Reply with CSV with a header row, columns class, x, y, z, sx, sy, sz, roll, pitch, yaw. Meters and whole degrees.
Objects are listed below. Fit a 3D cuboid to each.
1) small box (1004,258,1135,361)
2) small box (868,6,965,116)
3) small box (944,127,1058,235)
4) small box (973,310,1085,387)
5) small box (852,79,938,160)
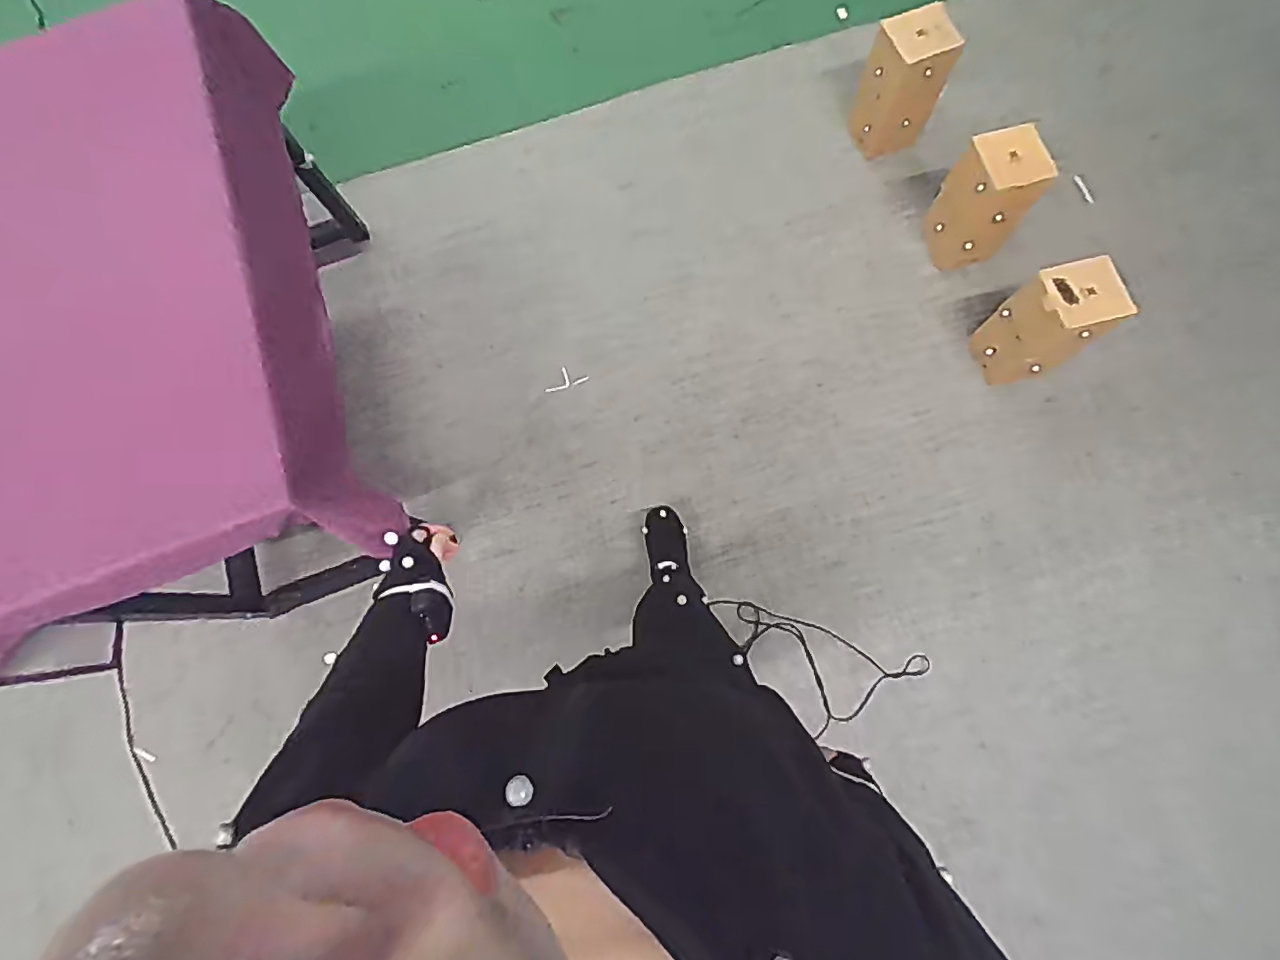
class,x,y,z,sx,sy,sz,roll,pitch,yaw
small box,1.060,-0.420,1.358,0.179,0.176,0.168,-13,76,0
small box,0.787,-1.204,1.567,0.179,0.176,0.168,-20,77,-1
small box,0.961,-0.800,1.458,0.168,0.176,0.179,-13,76,0
small box,1.075,-0.381,1.518,0.179,0.176,0.168,-15,77,1
small box,0.801,-1.166,1.726,0.179,0.176,0.168,-18,77,-1
